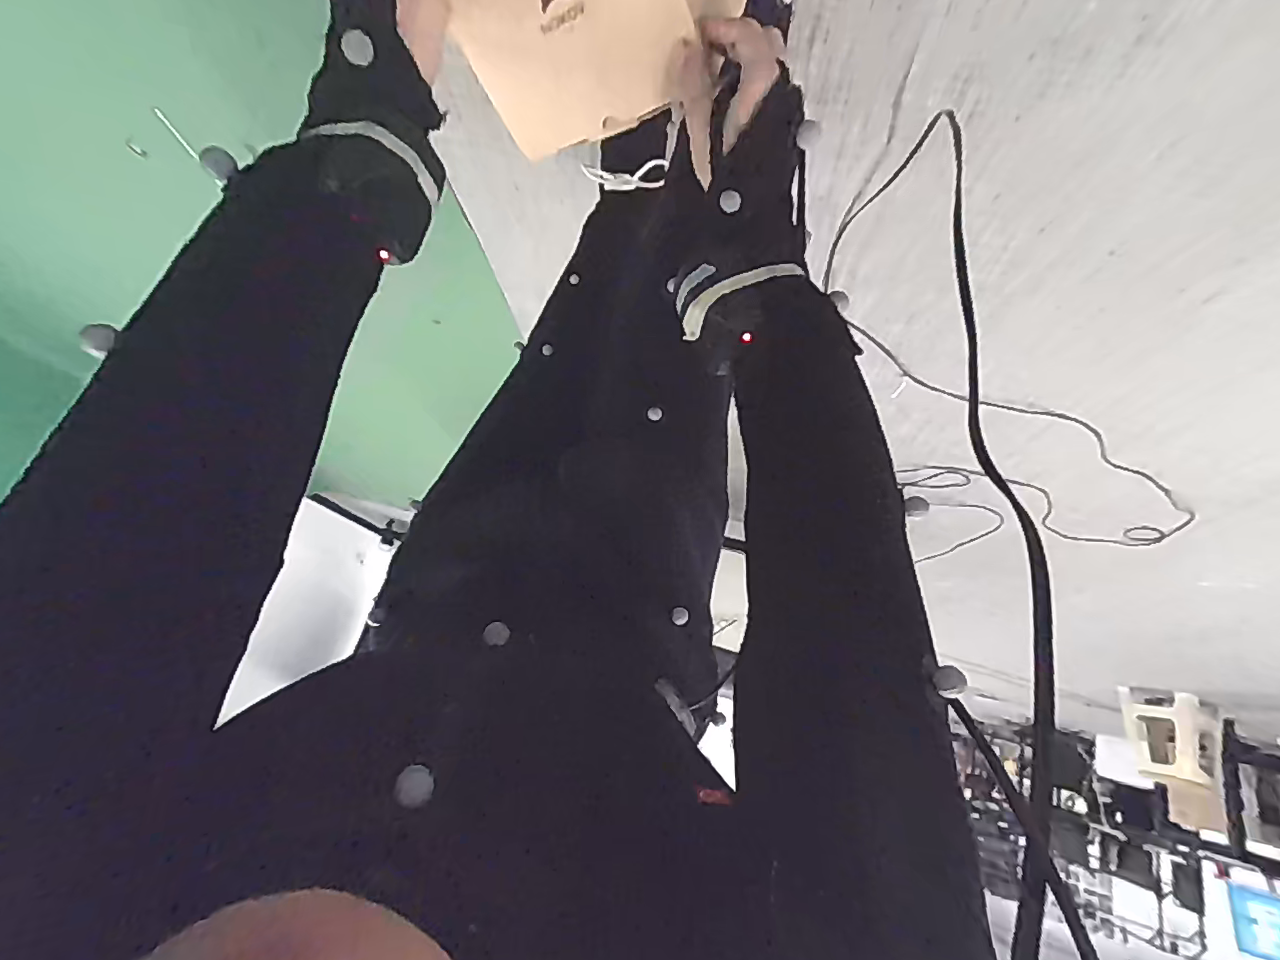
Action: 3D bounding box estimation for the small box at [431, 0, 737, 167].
[{"bbox_3d":[-0.038,-0.379,0.391,0.168,0.176,0.179,-4,145,30],"label":"small box"}]
